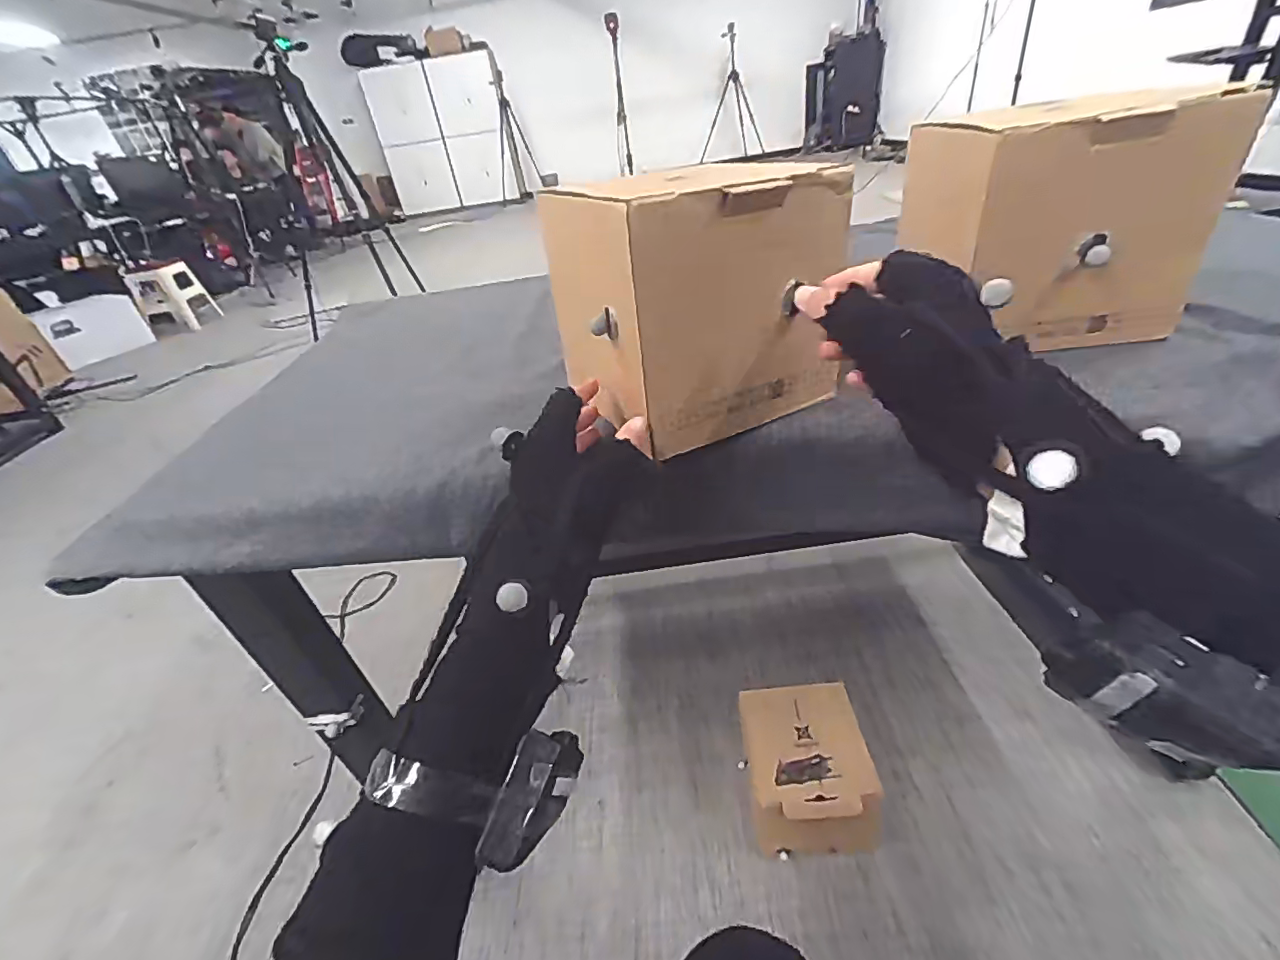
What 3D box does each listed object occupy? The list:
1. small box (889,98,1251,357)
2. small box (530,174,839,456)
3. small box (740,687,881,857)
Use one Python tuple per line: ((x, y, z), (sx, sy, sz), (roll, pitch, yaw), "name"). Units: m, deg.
((0.333, -0.214, 0.471), (0.168, 0.176, 0.179), (-5, 34, 8), "small box")
((0.031, -0.134, 0.430), (0.168, 0.176, 0.179), (-20, 33, -20), "small box")
((0.251, 0.448, 0.825), (0.168, 0.176, 0.179), (-7, 32, 5), "small box")
